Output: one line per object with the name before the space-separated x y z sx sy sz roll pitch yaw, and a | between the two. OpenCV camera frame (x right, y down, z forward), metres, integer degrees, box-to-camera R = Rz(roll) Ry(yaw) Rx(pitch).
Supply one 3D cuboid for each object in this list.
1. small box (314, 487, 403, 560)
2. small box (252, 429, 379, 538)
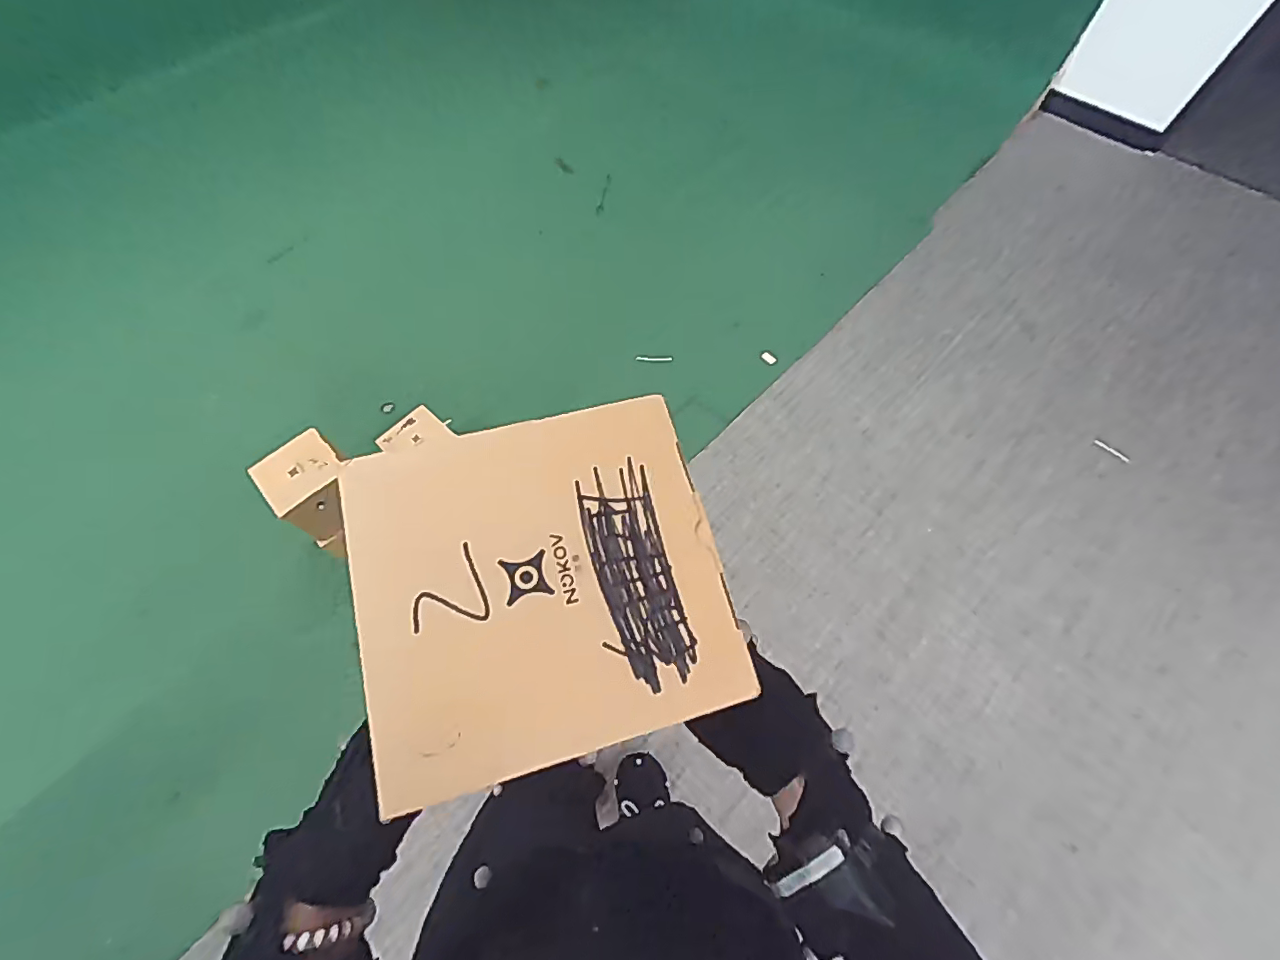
small box | -0.782 0.099 1.469 0.168 0.176 0.179 -38 69 -16
small box | -0.786 0.015 1.327 0.179 0.176 0.168 -39 69 -16
